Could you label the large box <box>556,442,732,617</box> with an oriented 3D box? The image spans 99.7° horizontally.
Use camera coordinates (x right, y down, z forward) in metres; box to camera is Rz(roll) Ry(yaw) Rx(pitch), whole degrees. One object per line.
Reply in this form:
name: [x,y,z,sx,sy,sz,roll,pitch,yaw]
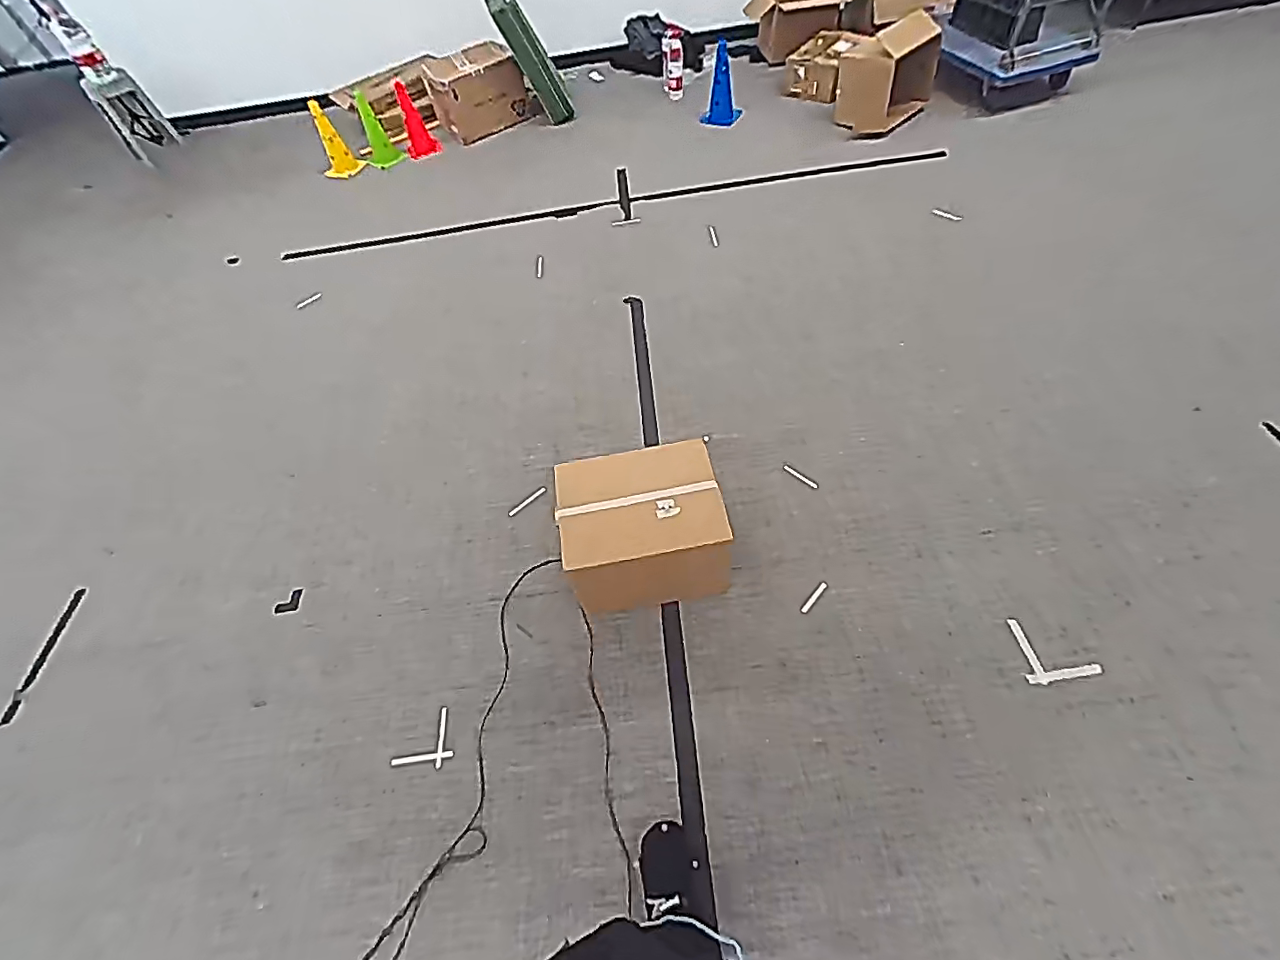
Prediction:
large box: [0.009,0.141,1.459,0.408,0.320,0.320,-10,56,-1]
